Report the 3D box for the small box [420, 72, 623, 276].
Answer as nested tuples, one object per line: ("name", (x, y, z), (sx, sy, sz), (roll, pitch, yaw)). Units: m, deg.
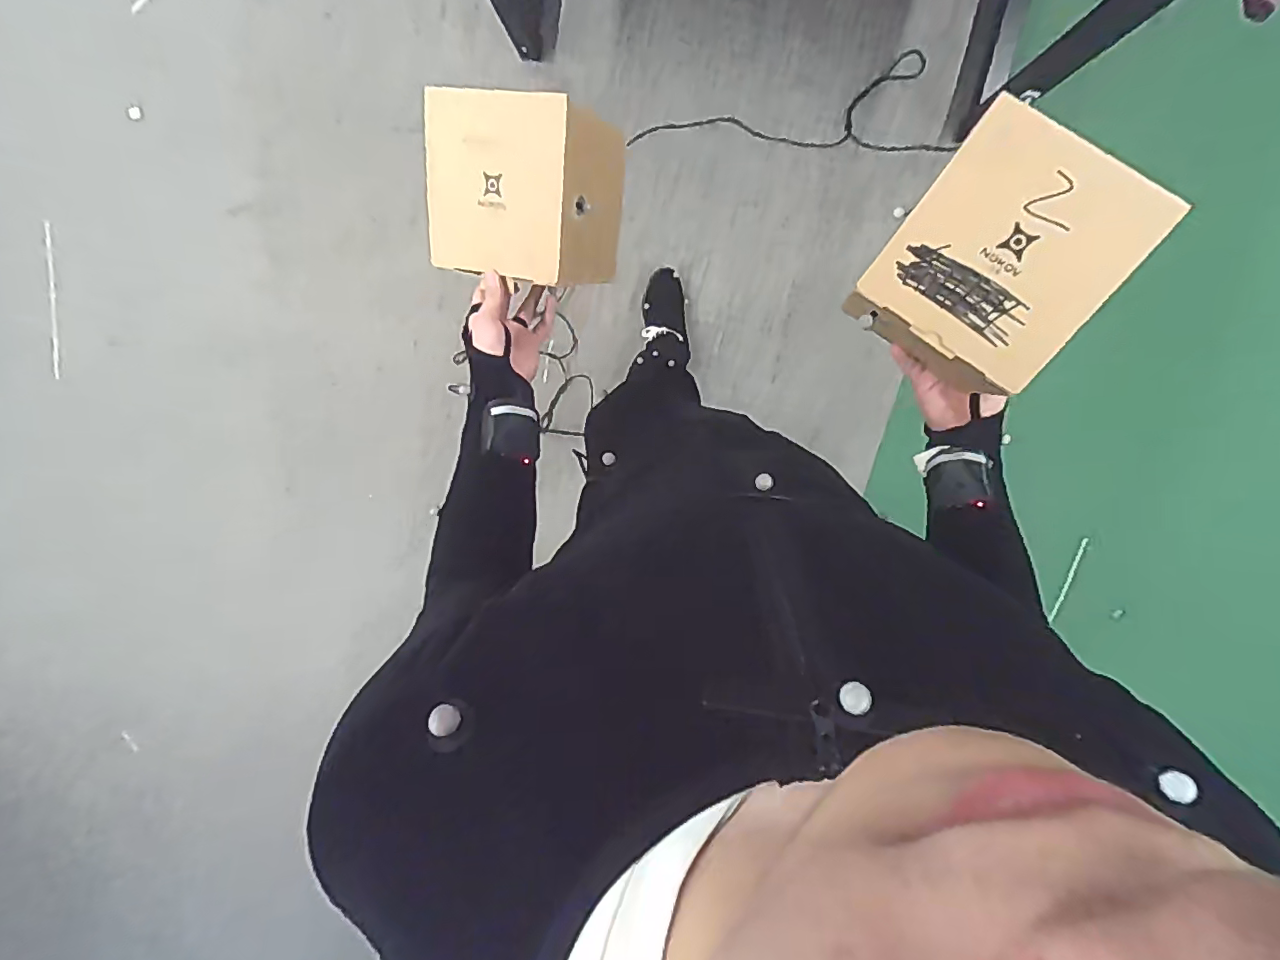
("small box", (-0.129, -0.342, 0.629), (0.168, 0.176, 0.179), (15, 114, 15))
